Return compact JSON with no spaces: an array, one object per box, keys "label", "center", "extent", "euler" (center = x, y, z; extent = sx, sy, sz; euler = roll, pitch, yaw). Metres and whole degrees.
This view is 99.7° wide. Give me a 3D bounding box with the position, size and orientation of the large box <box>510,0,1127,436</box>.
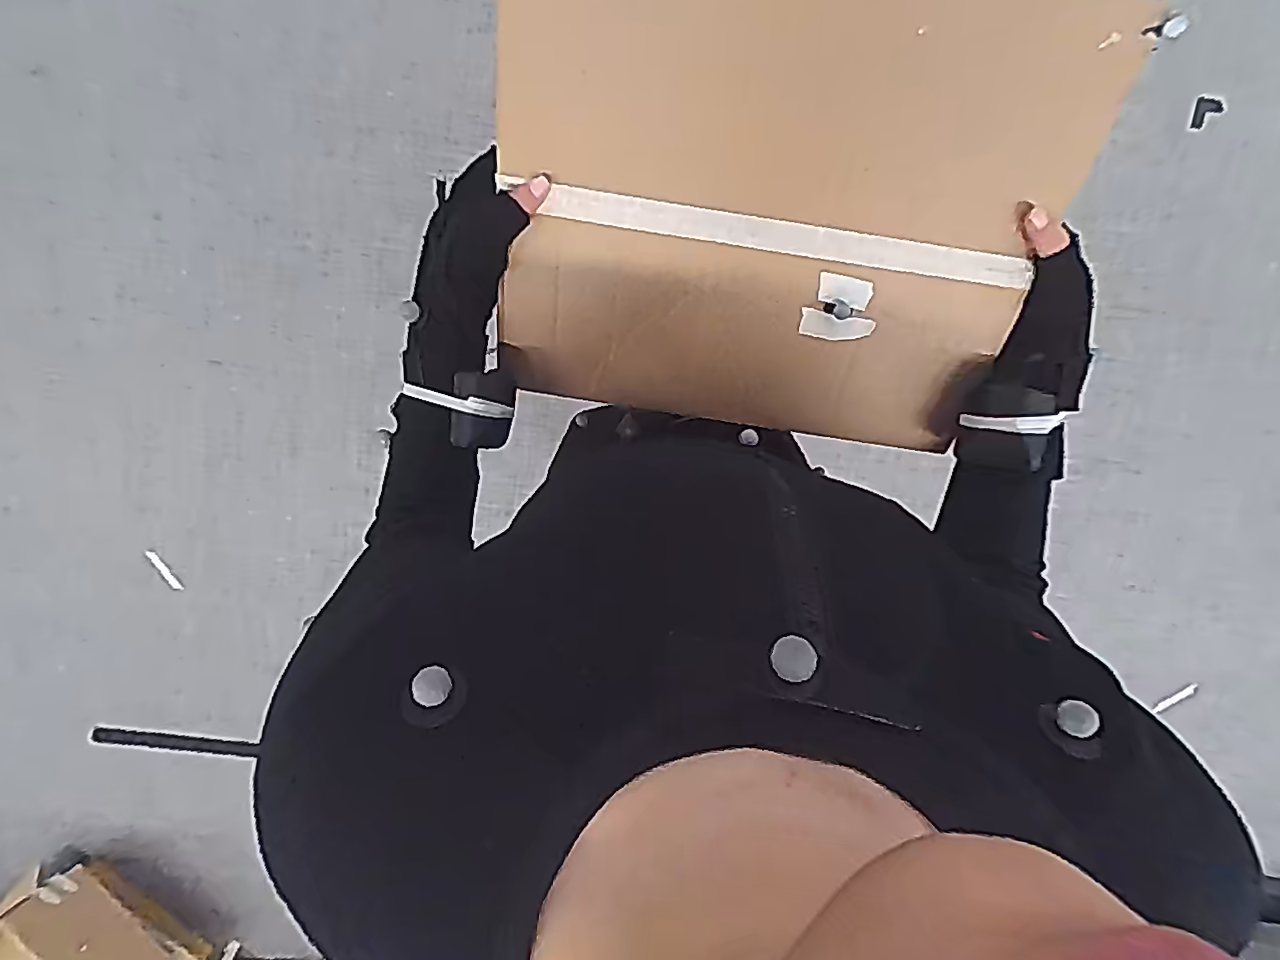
[{"label":"large box","center":[0.103,-0.272,0.544],"extent":[0.408,0.320,0.320],"euler":[9,123,-2]}]
